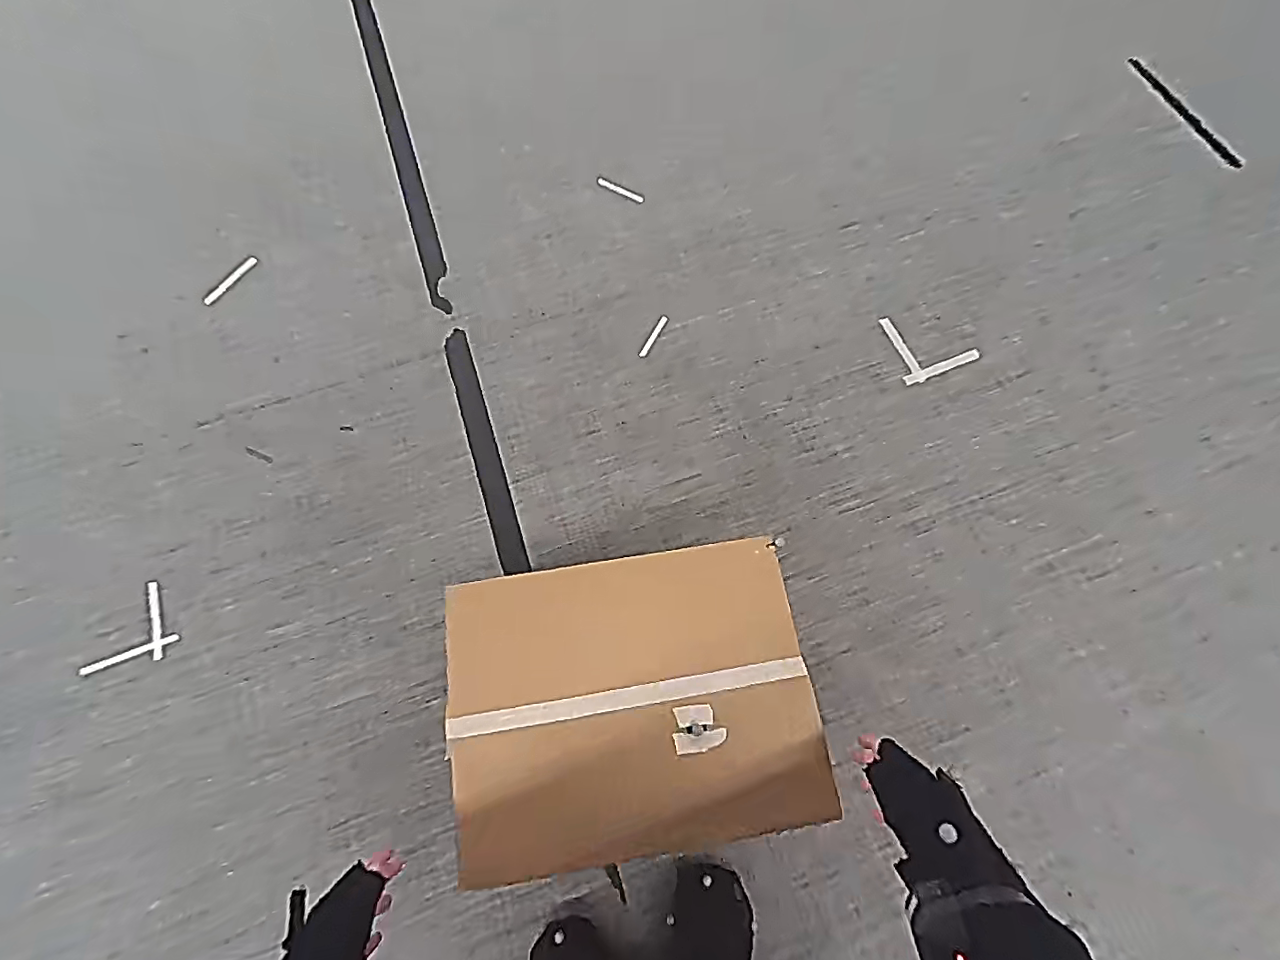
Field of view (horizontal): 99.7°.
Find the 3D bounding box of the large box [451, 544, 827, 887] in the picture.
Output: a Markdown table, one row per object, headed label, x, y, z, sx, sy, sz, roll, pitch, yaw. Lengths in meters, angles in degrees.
| label | x | y | z | sx | sy | sz | roll | pitch | yaw |
| --- | --- | --- | --- | --- | --- | --- | --- | --- | --- |
| large box | -0.016 | 0.307 | 0.768 | 0.408 | 0.320 | 0.320 | -9 | 71 | -4 |
